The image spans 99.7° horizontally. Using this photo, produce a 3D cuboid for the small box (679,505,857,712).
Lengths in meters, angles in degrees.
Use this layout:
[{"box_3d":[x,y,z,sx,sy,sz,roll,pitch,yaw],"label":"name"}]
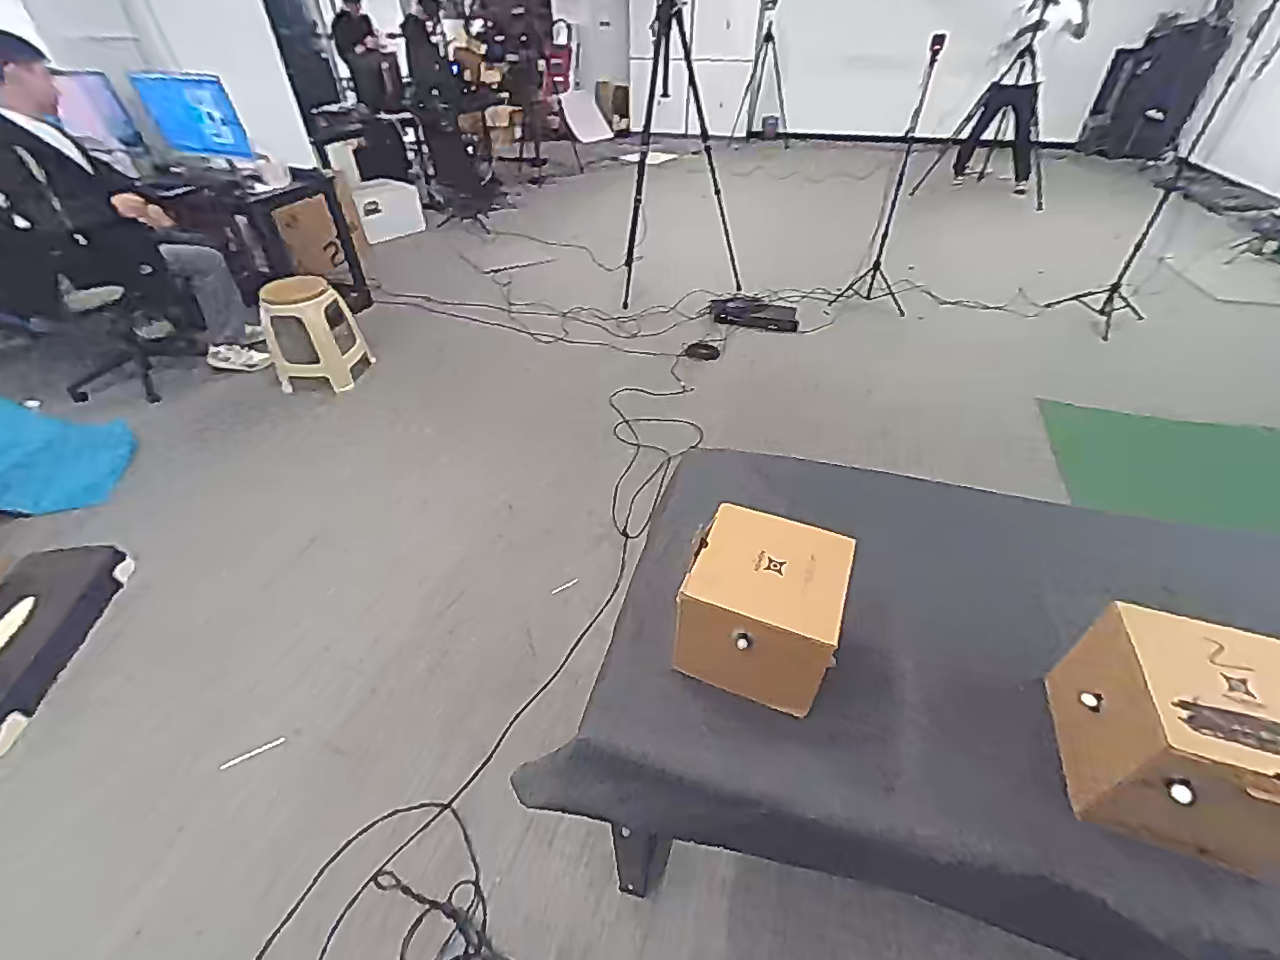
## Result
[{"box_3d":[0.157,0.163,0.689,0.179,0.176,0.168,16,44,17],"label":"small box"}]
